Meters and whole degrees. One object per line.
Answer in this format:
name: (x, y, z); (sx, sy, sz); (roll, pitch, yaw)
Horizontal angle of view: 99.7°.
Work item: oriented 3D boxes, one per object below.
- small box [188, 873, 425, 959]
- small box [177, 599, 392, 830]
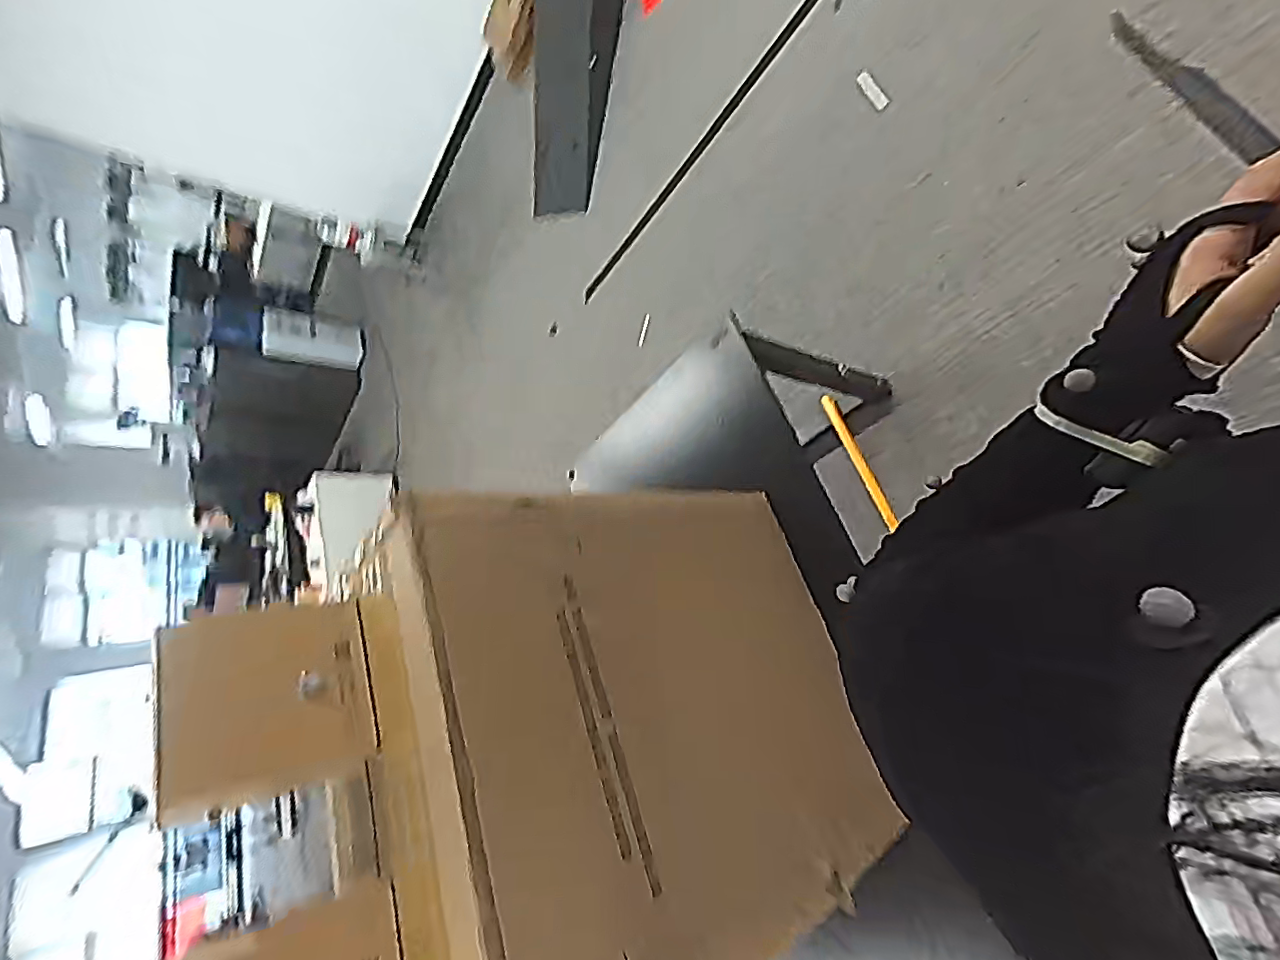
small box: (-0.297, 0.482, 0.480); (0.179, 0.176, 0.168); (-43, 59, 39)
small box: (-0.381, 0.242, 0.576); (0.179, 0.176, 0.168); (-43, 60, 40)
